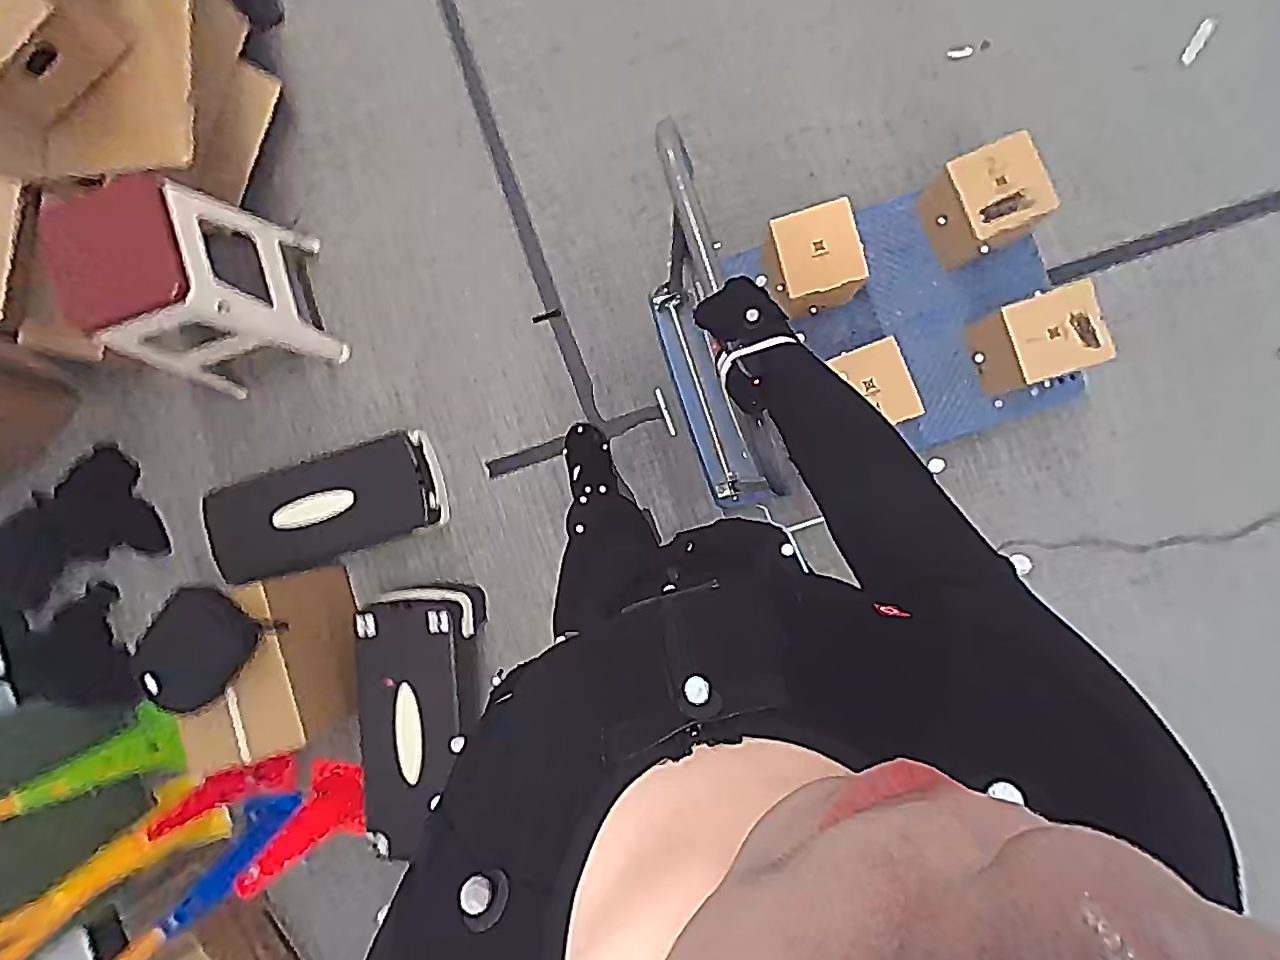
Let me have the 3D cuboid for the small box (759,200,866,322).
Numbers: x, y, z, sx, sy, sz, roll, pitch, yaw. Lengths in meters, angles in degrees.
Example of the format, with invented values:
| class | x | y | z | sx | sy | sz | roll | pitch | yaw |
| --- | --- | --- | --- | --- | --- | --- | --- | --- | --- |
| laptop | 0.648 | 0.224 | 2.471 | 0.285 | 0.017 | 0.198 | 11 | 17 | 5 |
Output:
| class | x | y | z | sx | sy | sz | roll | pitch | yaw |
| --- | --- | --- | --- | --- | --- | --- | --- | --- | --- |
| small box | 0.374 | -0.478 | 1.204 | 0.168 | 0.176 | 0.179 | -16 | 90 | 5 |

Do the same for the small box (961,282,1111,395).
| class | x | y | z | sx | sy | sz | roll | pitch | yaw |
| --- | --- | --- | --- | --- | --- | --- | --- | --- | --- |
| small box | 0.833 | -0.293 | 1.154 | 0.179 | 0.176 | 0.168 | -18 | 88 | 7 |

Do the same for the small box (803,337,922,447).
| class | x | y | z | sx | sy | sz | roll | pitch | yaw |
| --- | --- | --- | --- | --- | --- | --- | --- | --- | --- |
| small box | 0.476 | -0.185 | 1.189 | 0.168 | 0.176 | 0.179 | -21 | 87 | 5 |
